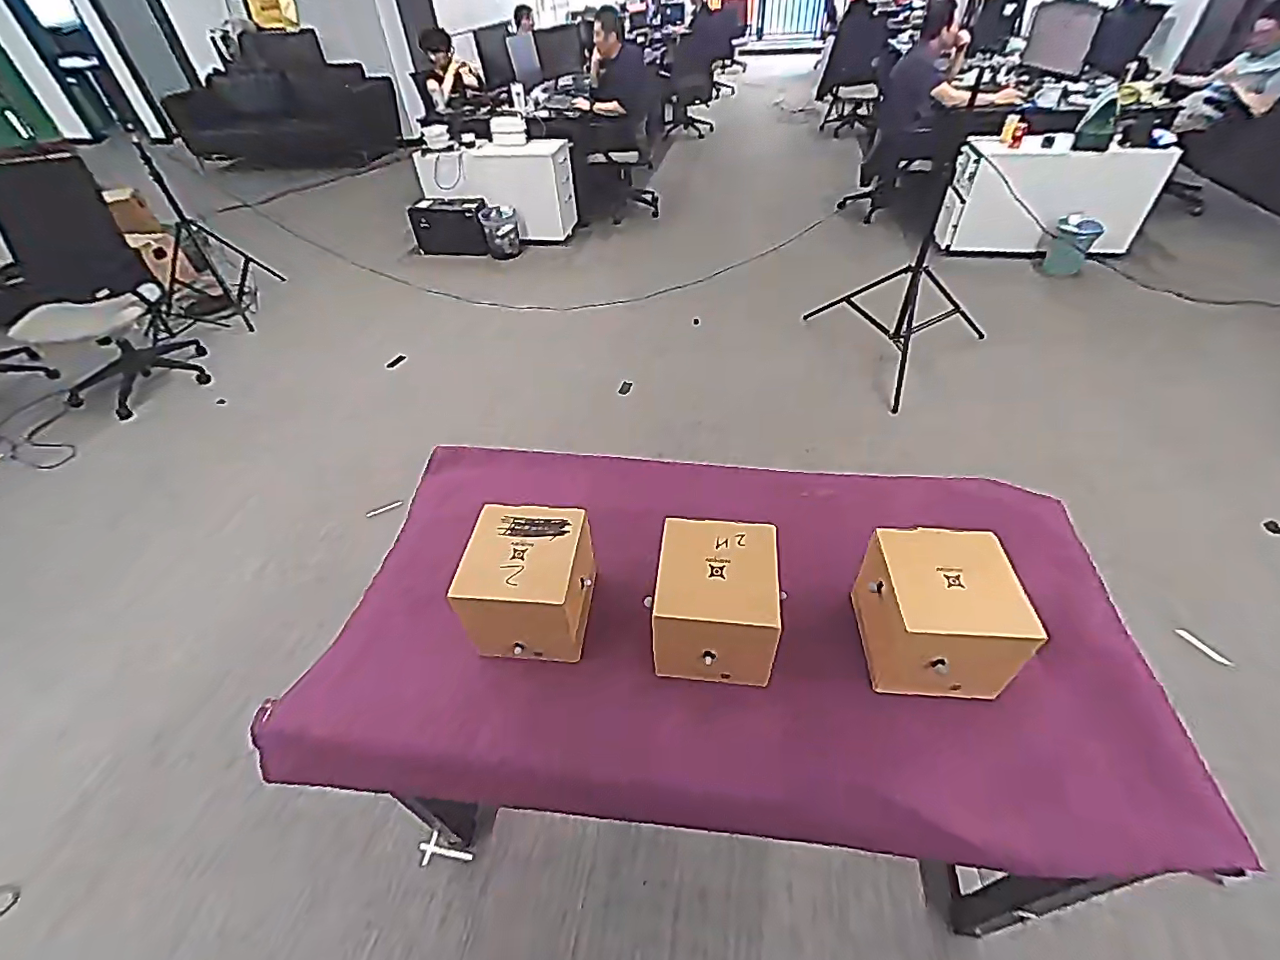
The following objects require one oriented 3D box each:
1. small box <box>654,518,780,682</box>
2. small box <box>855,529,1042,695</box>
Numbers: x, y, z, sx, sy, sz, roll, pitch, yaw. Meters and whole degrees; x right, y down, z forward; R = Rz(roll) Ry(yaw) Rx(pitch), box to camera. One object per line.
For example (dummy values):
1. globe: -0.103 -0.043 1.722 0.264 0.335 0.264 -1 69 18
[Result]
1. small box: 0.114 0.180 0.810 0.168 0.176 0.179 4 44 7
2. small box: 0.423 0.190 0.778 0.168 0.176 0.179 1 42 6
